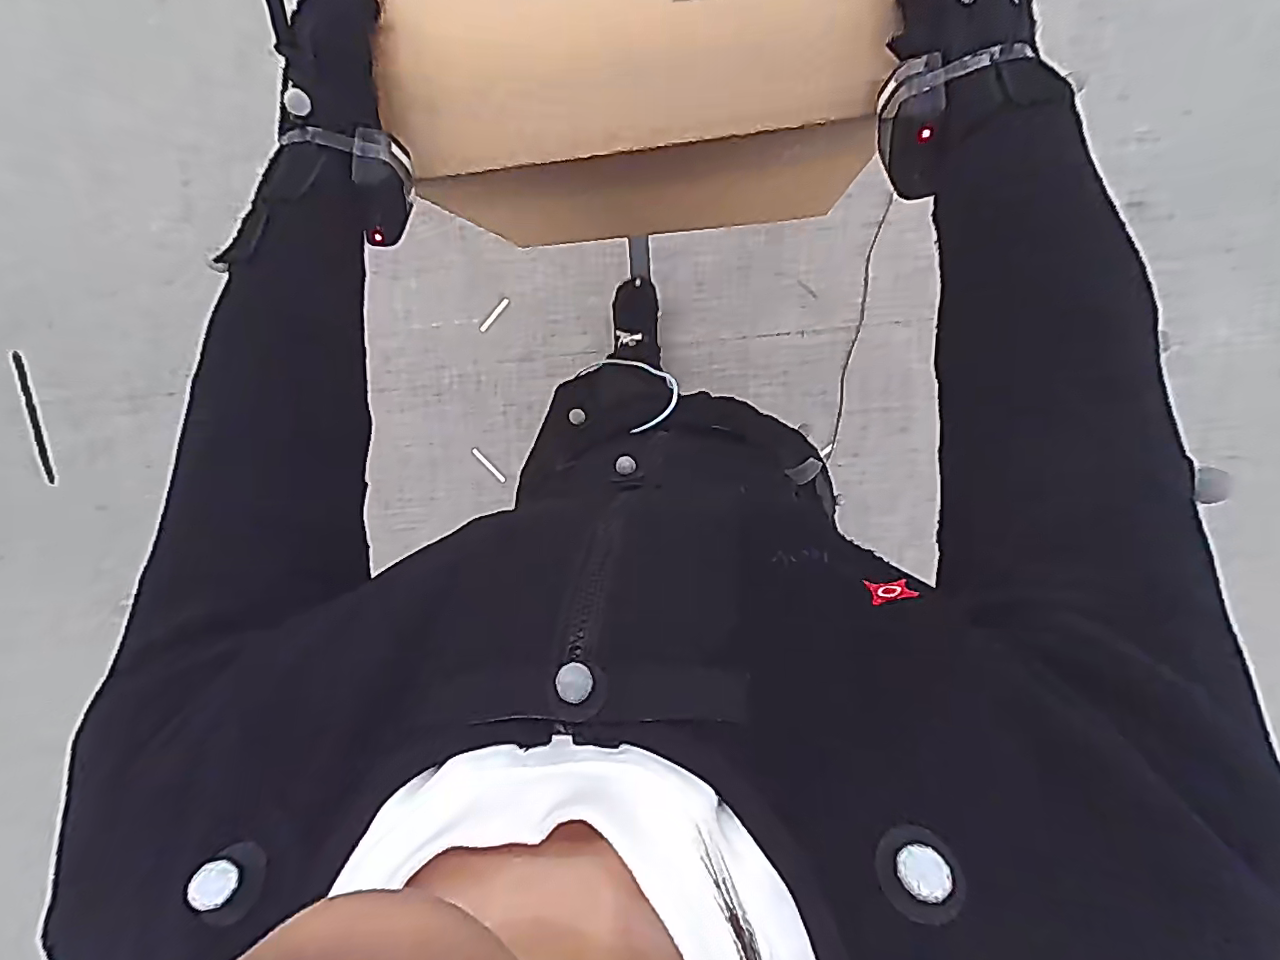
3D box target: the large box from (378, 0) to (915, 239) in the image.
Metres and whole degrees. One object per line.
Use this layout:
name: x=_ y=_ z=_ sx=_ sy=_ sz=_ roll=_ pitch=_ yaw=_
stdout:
large box: x=0.006 y=-0.451 z=0.530 sx=0.408 sy=0.320 sz=0.320 roll=-3 pitch=104 yaw=8
